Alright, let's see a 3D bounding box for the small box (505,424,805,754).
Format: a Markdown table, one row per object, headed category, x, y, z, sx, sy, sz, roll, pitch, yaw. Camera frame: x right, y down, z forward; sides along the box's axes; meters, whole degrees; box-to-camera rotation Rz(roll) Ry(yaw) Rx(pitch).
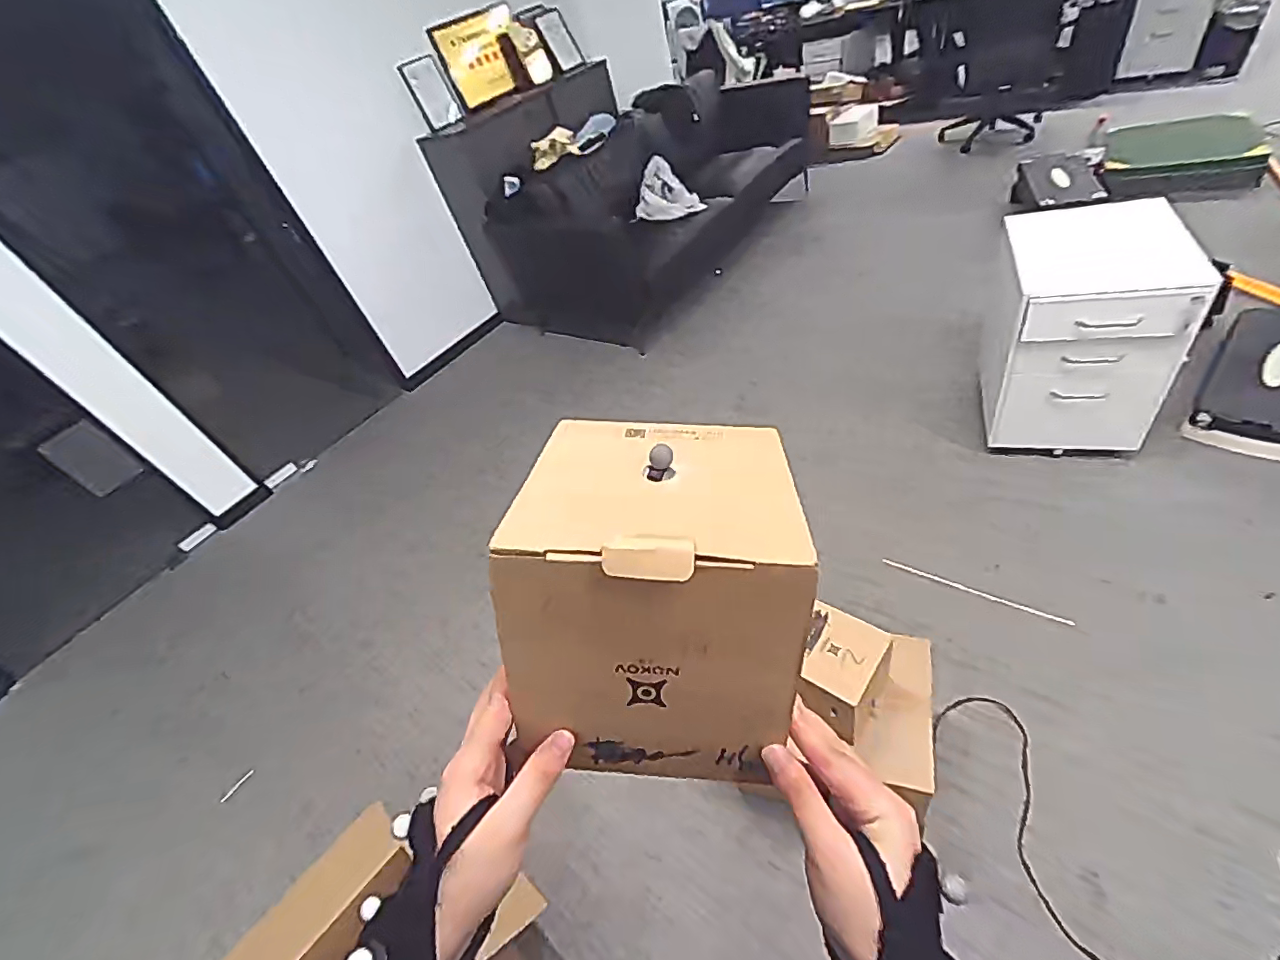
| category | x | y | z | sx | sy | sz | roll | pitch | yaw |
| --- | --- | --- | --- | --- | --- | --- | --- | --- | --- |
| small box | 0.011 | 0.067 | 0.398 | 0.168 | 0.179 | 0.176 | 2 | 29 | 4 |
